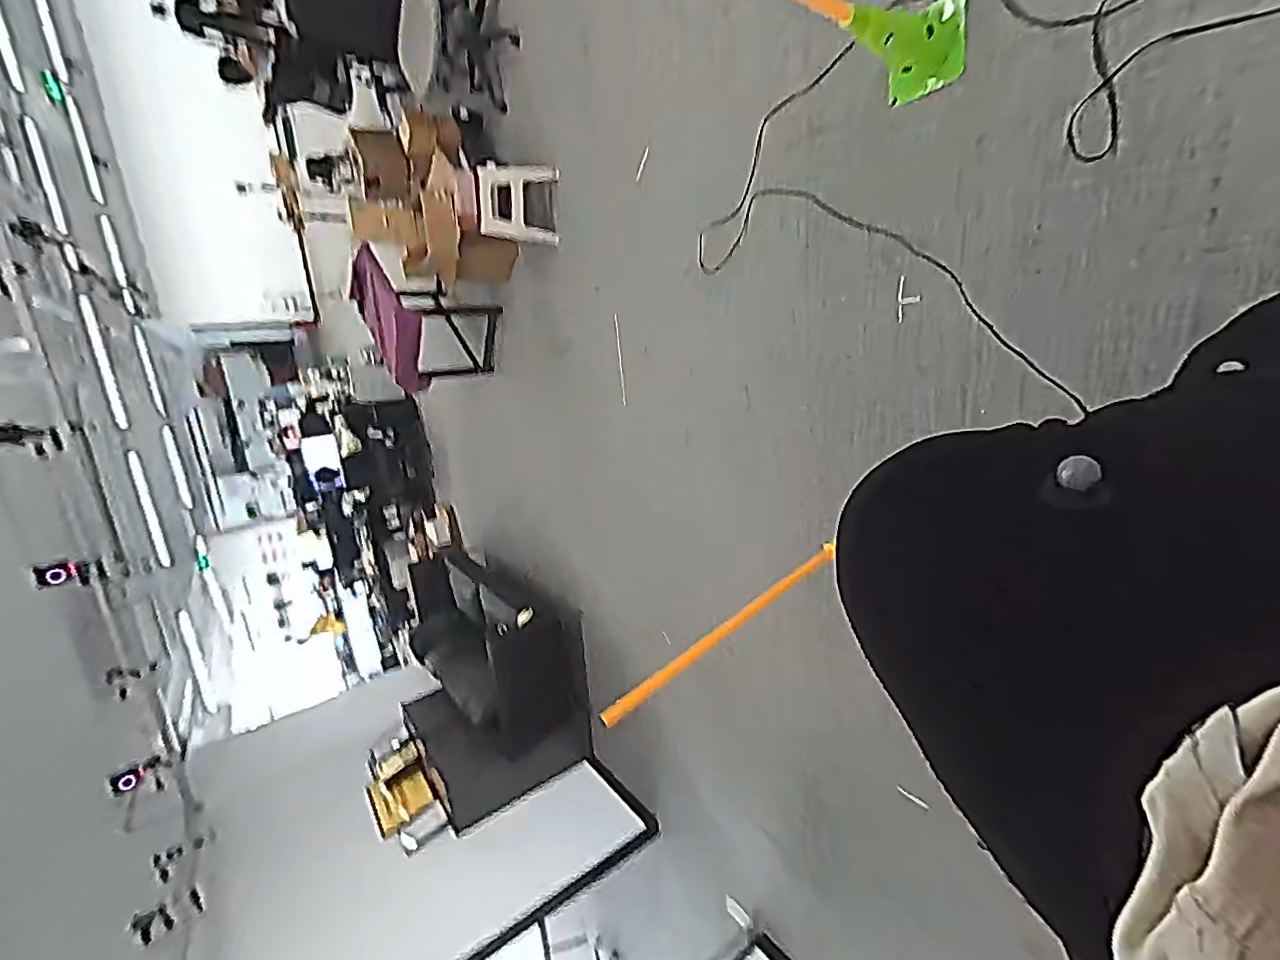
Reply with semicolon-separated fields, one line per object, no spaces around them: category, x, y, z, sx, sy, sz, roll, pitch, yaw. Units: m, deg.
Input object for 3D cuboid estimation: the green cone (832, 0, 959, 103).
green cone;0.603;-1.115;1.335;0.200;0.368;0.202;9;108;53
